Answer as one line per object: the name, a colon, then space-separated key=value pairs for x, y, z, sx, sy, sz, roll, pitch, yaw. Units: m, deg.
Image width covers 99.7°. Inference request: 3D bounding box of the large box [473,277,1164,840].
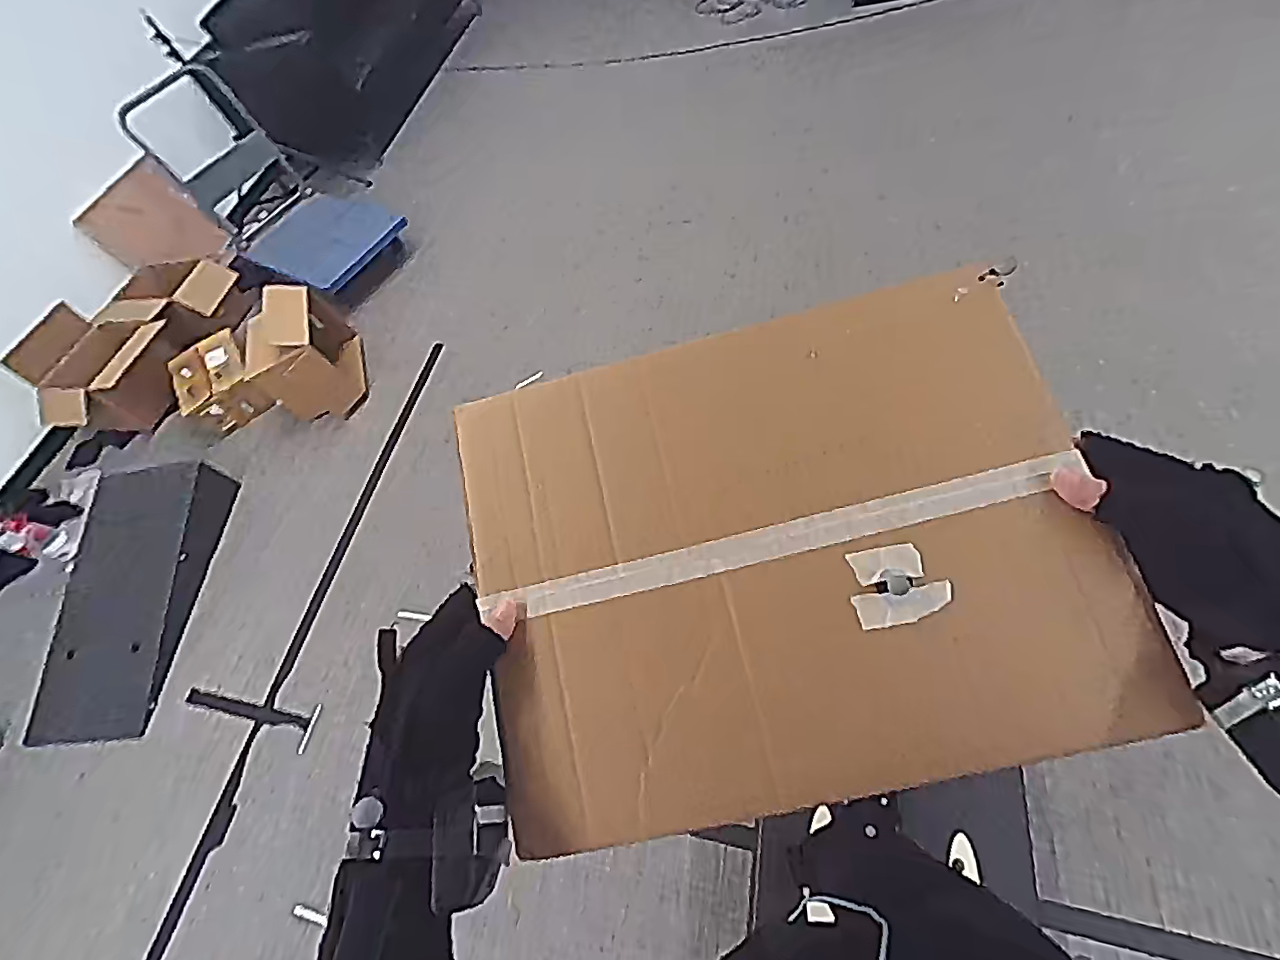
large box: x=0.109 y=0.078 z=0.518 sx=0.408 sy=0.320 sz=0.320 roll=-15 pitch=75 yaw=5
